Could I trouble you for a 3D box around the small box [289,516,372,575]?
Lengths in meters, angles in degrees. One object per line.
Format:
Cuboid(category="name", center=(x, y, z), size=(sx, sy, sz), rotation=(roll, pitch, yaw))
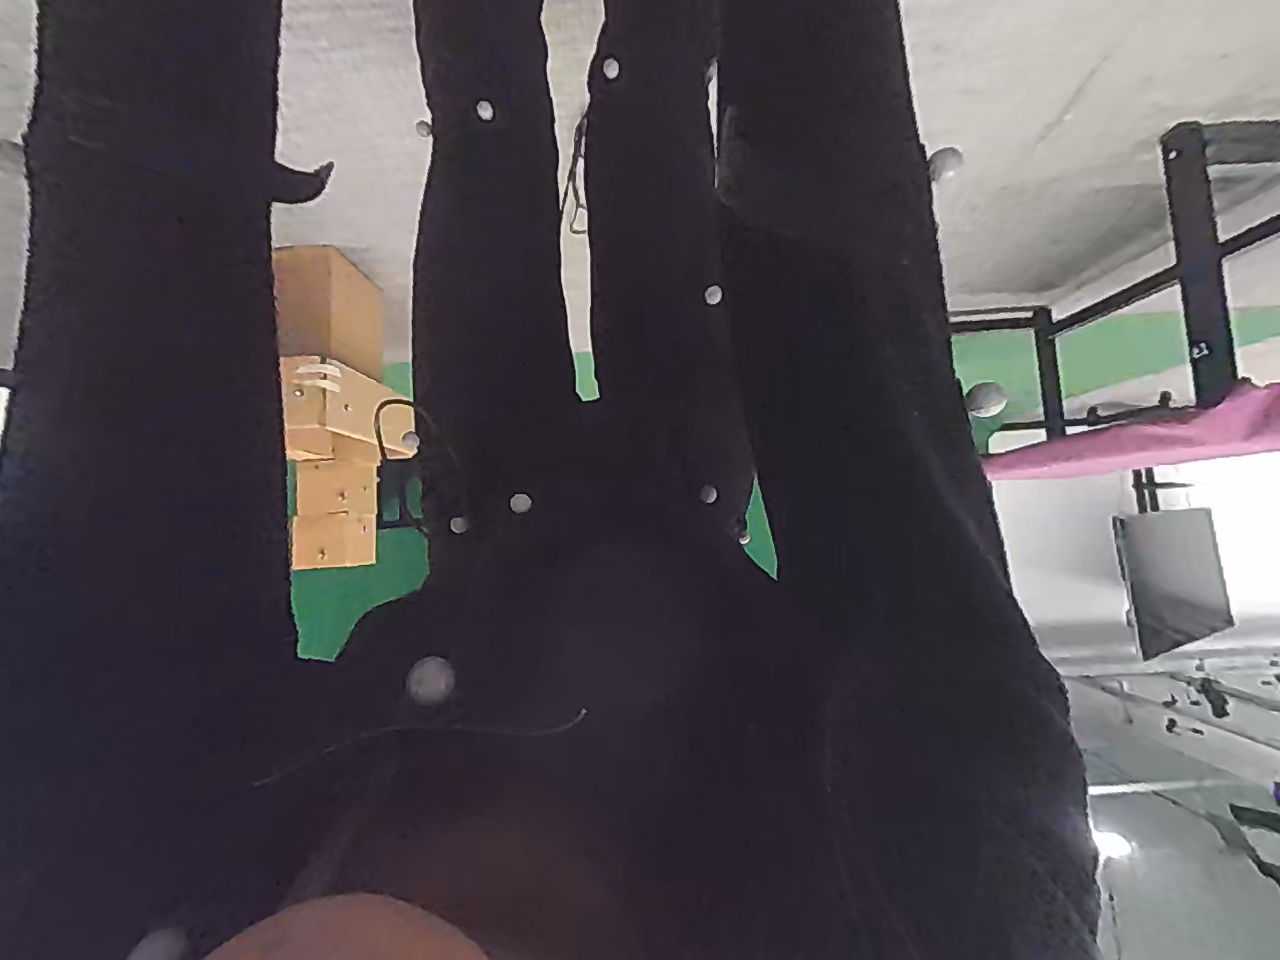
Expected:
Cuboid(category="small box", center=(-0.971, 0.207, 1.710), size=(0.179, 0.176, 0.168), rotation=(-4, 174, 2))
